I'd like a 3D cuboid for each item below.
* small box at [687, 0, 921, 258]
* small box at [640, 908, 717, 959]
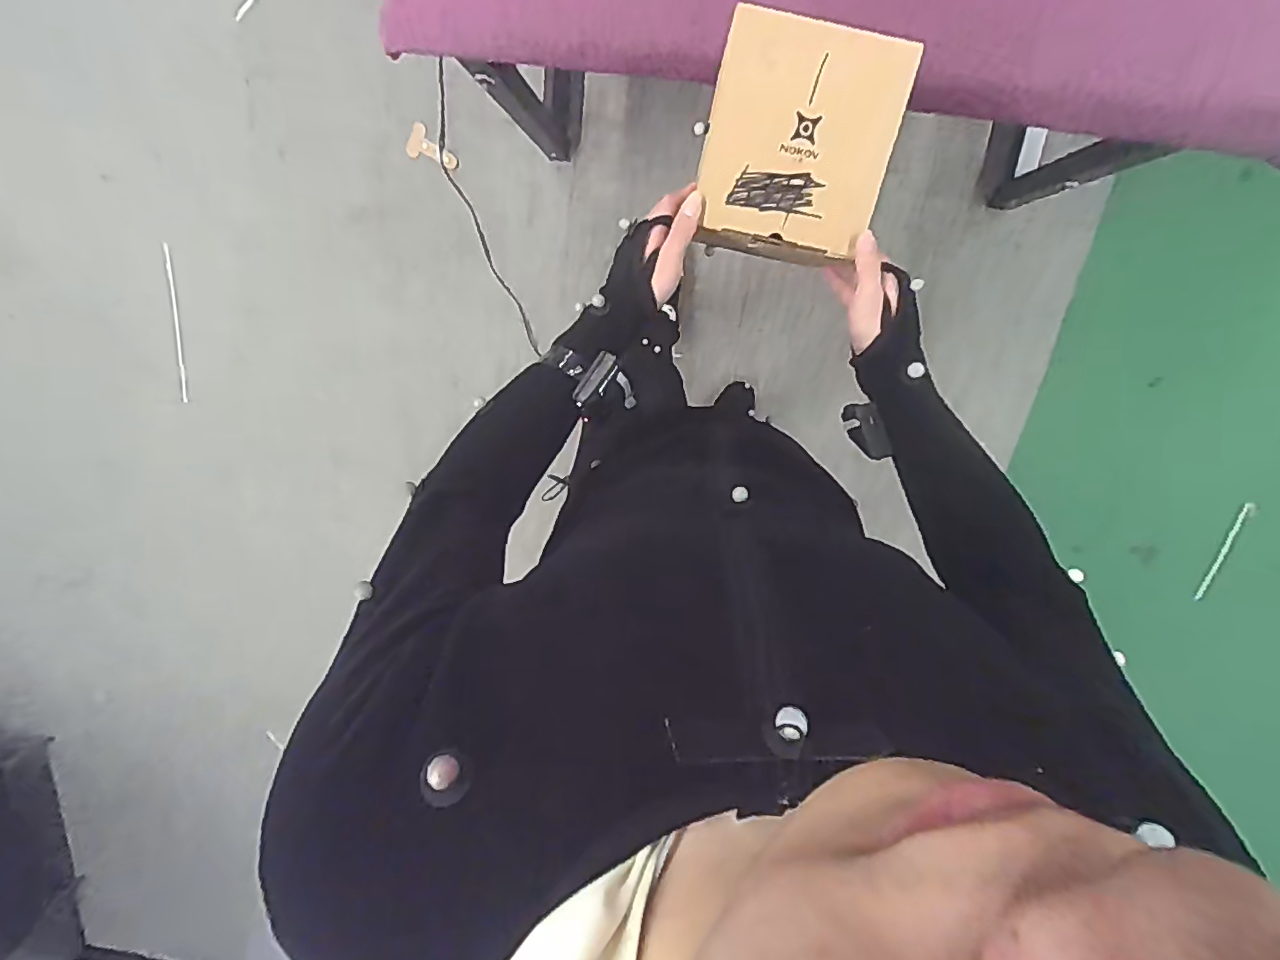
[{"bbox_3d":[0.147,-0.339,0.558,0.168,0.176,0.179,12,108,-2],"label":"small box"},{"bbox_3d":[0.088,1.179,1.287,0.168,0.176,0.179,13,107,1],"label":"small box"}]
